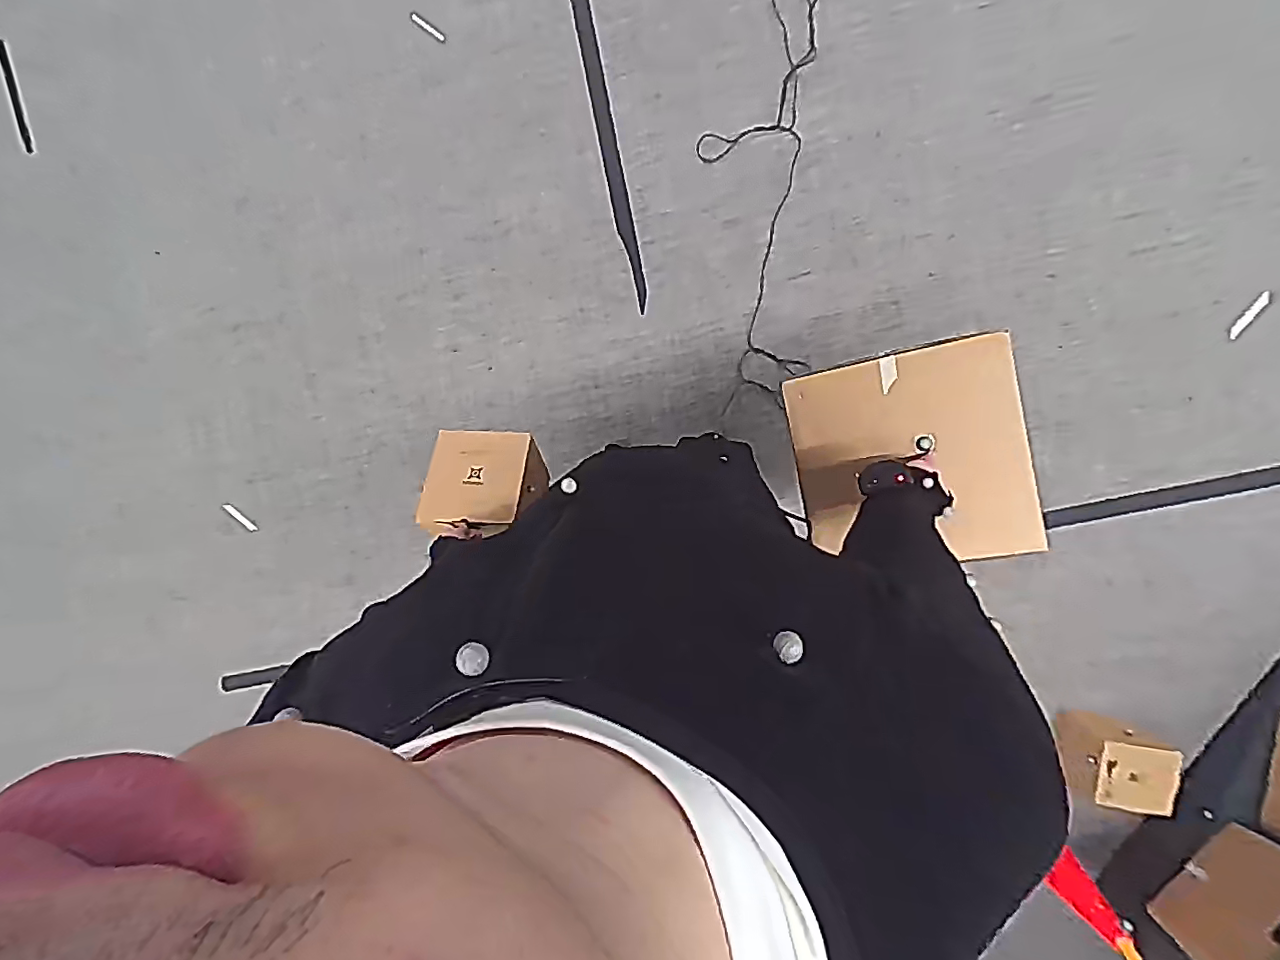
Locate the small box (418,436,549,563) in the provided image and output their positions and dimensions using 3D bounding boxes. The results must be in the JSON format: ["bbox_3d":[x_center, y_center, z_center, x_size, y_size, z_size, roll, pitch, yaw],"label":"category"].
[{"bbox_3d":[-0.271,0.040,0.983,0.168,0.176,0.179,3,60,4],"label":"small box"}]
